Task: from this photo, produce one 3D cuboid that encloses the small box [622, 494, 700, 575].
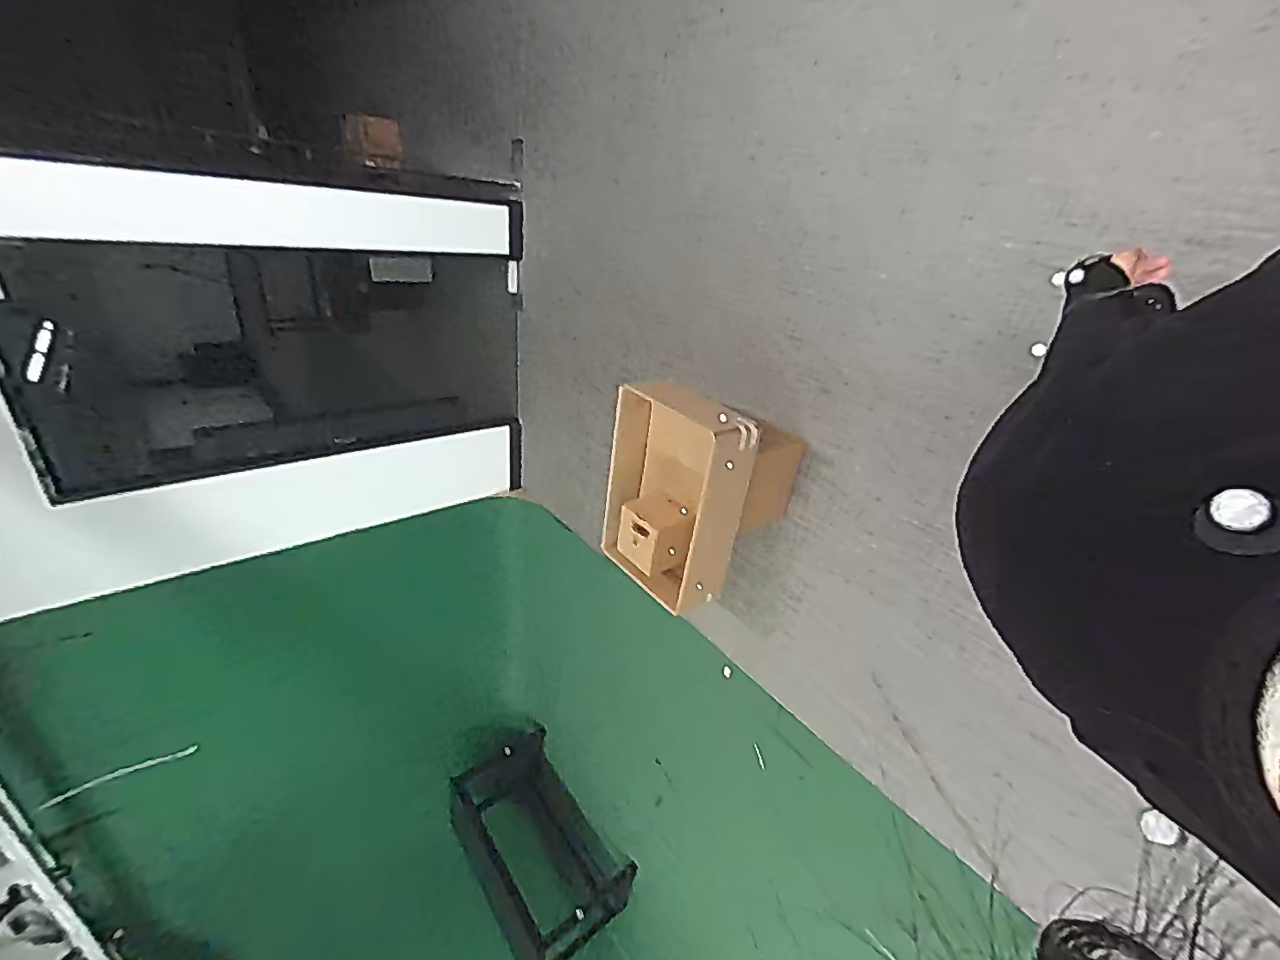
[{"bbox_3d":[0.068,0.163,1.699,0.168,0.176,0.179,36,129,40],"label":"small box"}]
